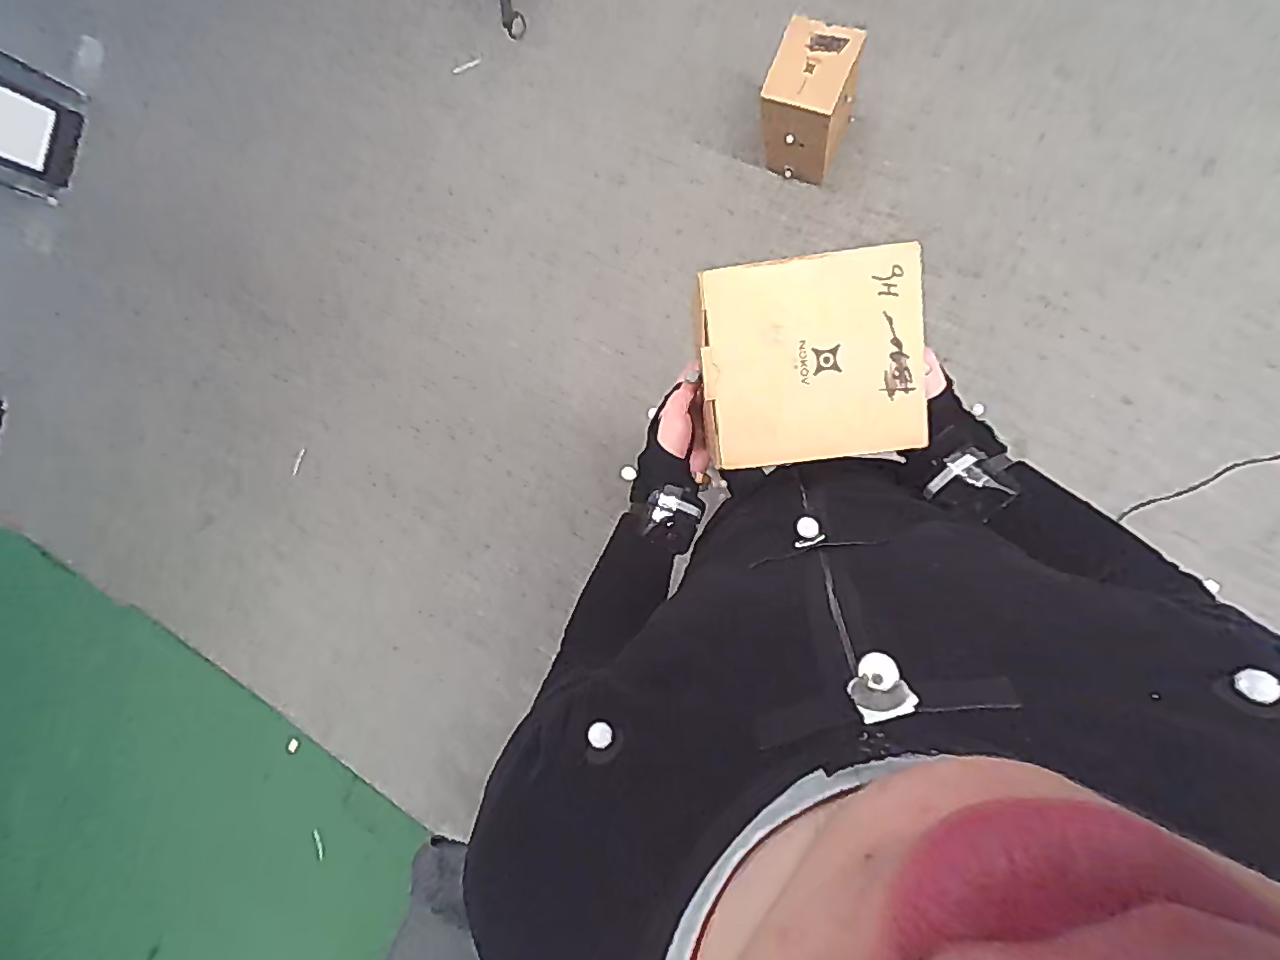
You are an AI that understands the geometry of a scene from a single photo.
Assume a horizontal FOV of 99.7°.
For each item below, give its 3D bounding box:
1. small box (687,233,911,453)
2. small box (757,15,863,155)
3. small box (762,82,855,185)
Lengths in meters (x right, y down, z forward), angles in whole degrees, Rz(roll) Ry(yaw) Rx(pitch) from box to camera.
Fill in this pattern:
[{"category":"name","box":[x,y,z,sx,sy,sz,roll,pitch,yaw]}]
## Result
[{"category":"small box","box":[0.138,-0.121,0.524,0.179,0.176,0.168,-5,100,4]},{"category":"small box","box":[0.378,-0.888,1.227,0.168,0.176,0.179,25,99,13]},{"category":"small box","box":[0.425,-0.901,1.385,0.168,0.176,0.179,25,100,13]}]
